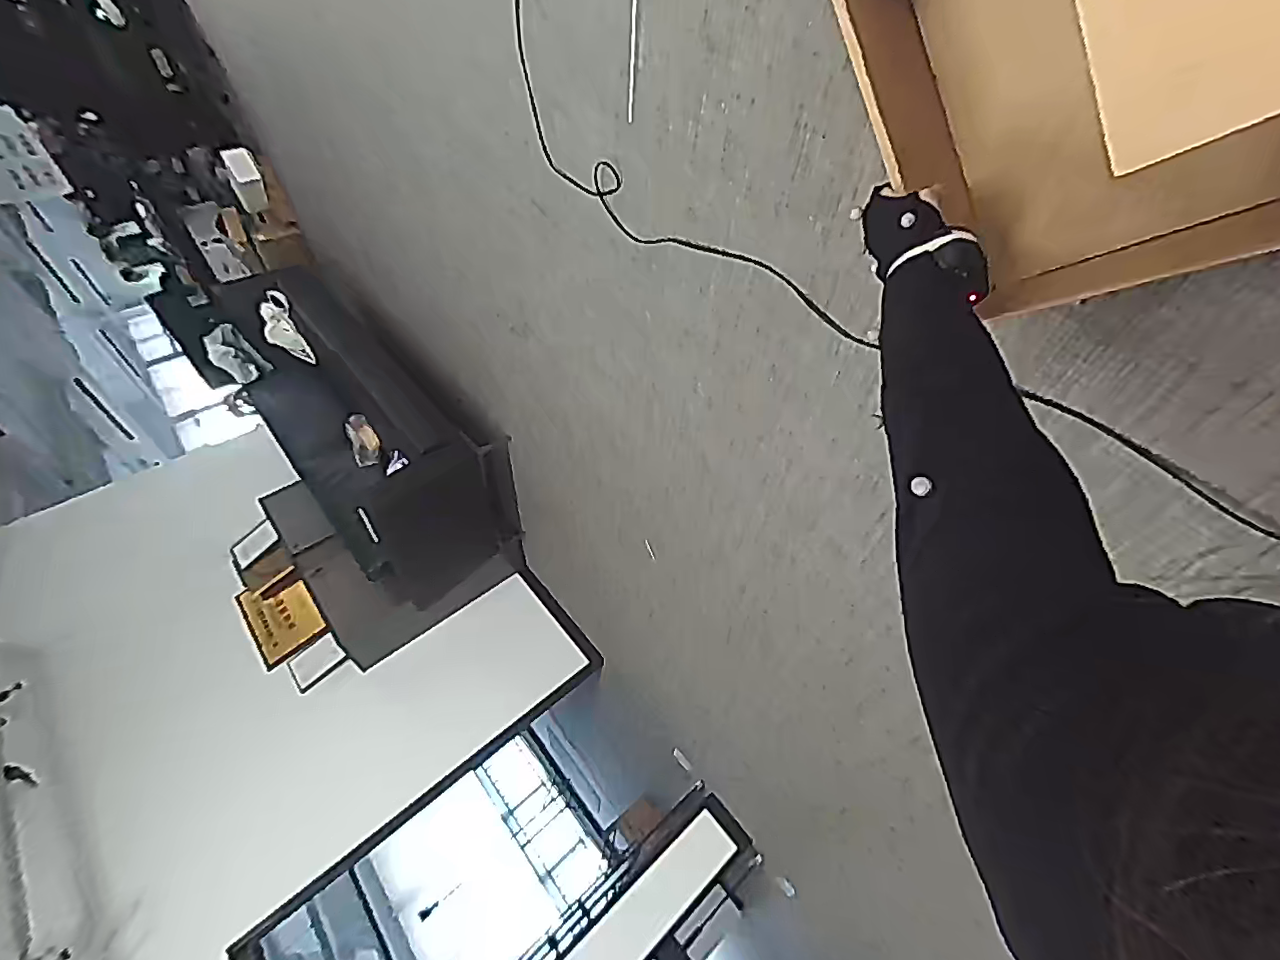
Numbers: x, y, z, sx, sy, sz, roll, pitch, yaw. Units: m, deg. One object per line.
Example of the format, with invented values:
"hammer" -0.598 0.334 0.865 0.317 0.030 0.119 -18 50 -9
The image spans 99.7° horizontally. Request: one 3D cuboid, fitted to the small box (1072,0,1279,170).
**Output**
"small box" 0.341 -0.288 0.254 0.179 0.176 0.168 0 119 61
